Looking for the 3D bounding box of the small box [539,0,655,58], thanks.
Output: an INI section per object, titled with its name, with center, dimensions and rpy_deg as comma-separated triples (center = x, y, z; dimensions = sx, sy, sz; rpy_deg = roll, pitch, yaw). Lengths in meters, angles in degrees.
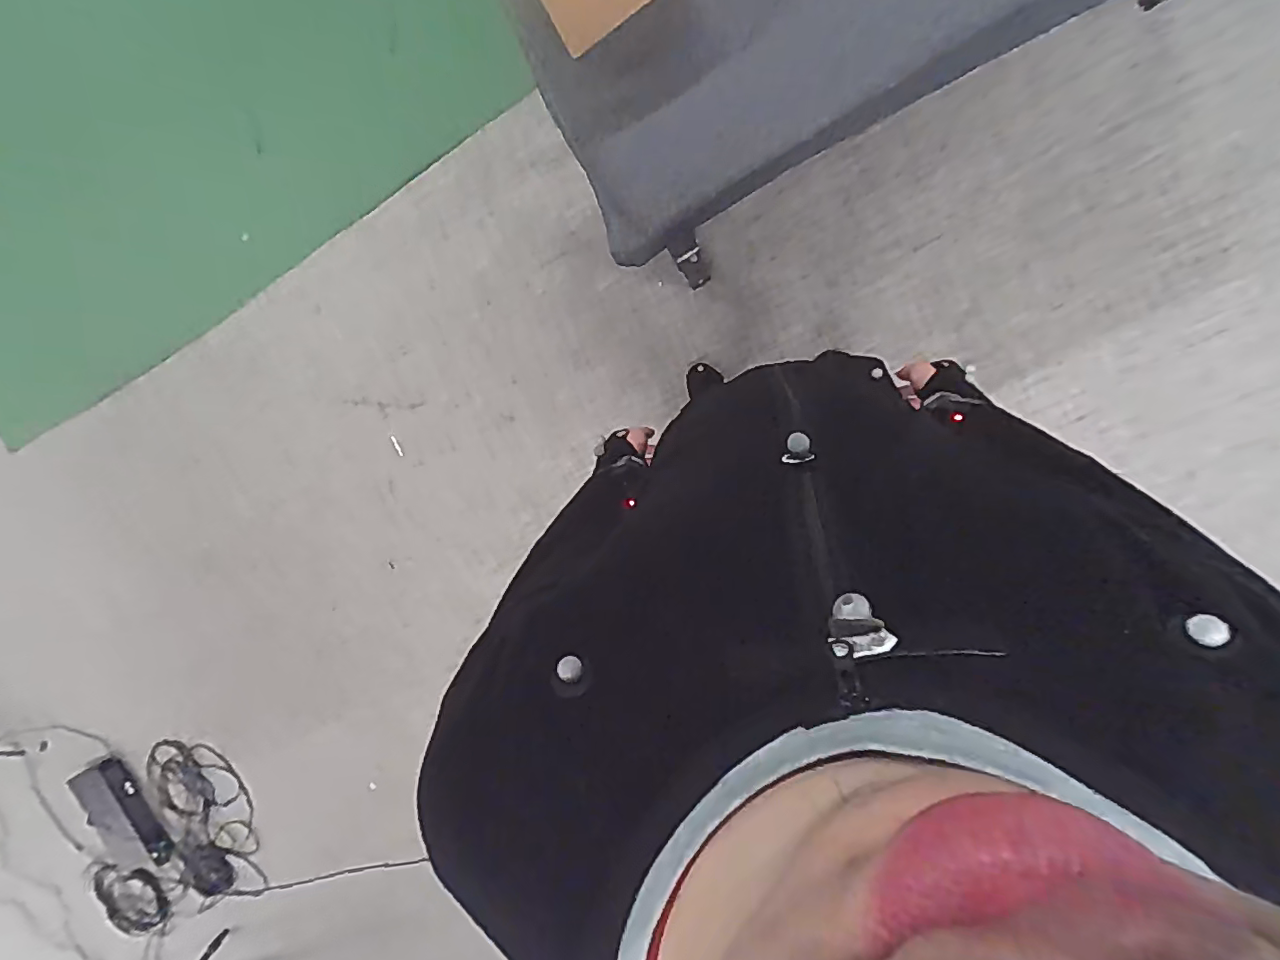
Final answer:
[small box]
center = -0.067, -0.655, 0.625
dimensions = 0.179, 0.176, 0.168
rpy_deg = -28, 96, 15
